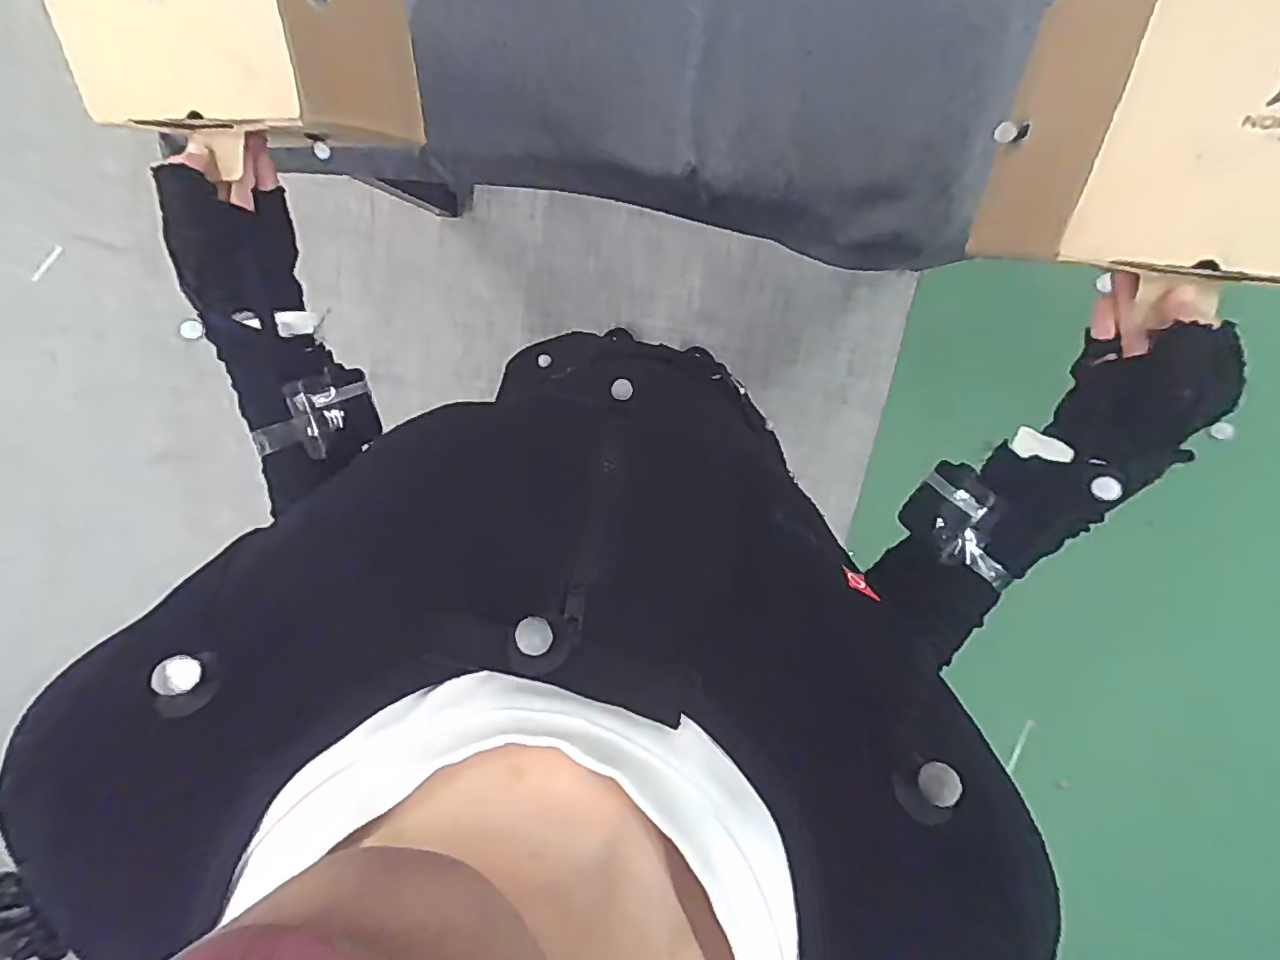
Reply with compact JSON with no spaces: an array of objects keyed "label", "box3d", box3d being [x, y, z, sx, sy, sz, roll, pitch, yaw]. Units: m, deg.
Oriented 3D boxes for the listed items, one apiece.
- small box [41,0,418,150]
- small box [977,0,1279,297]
[{"label":"small box","box3d":[-0.287,-0.350,0.397,0.168,0.176,0.179,4,117,7]},{"label":"small box","box3d":[0.361,-0.230,0.363,0.168,0.176,0.179,10,115,8]}]
